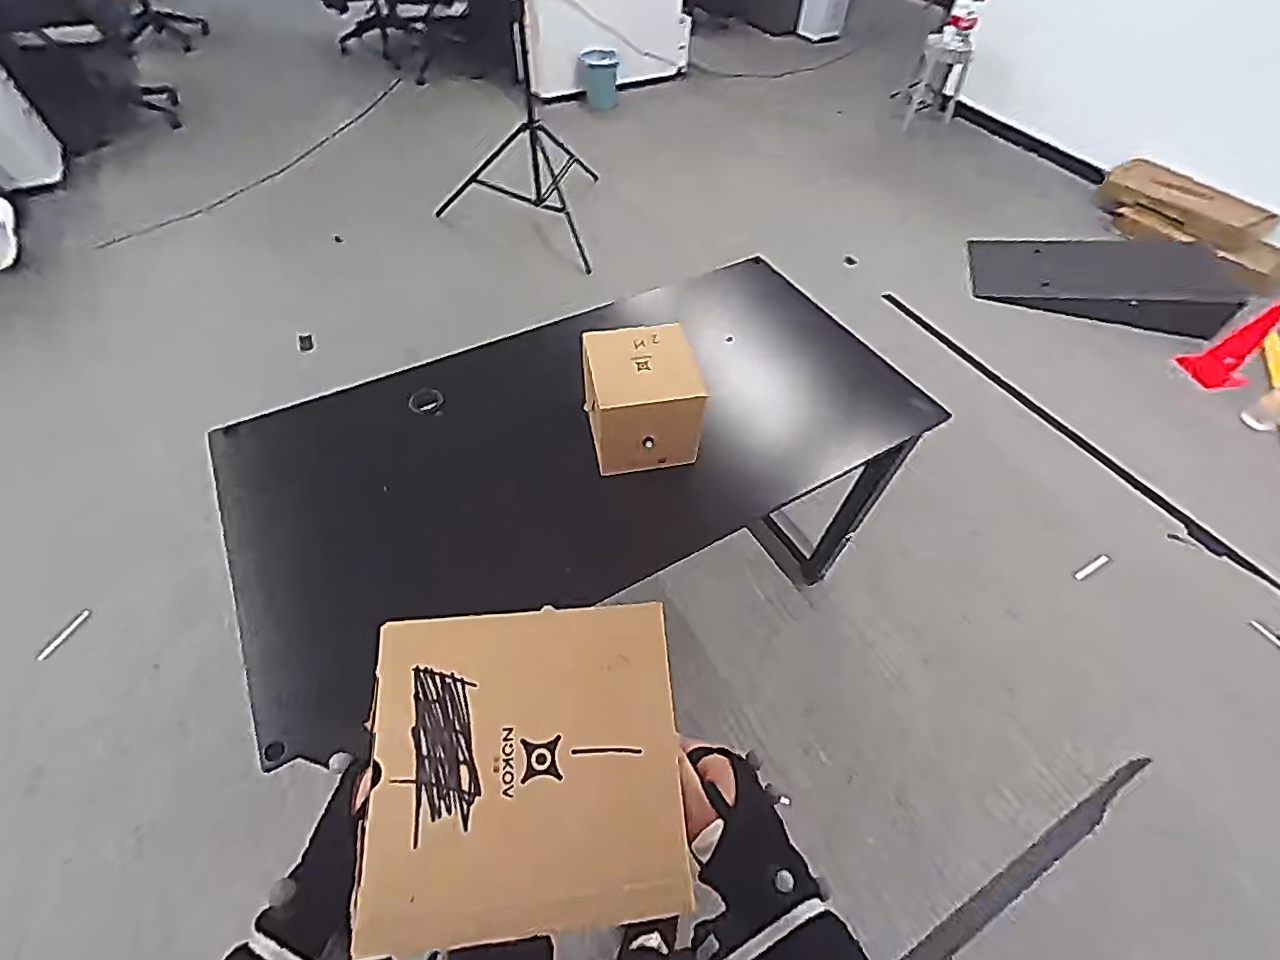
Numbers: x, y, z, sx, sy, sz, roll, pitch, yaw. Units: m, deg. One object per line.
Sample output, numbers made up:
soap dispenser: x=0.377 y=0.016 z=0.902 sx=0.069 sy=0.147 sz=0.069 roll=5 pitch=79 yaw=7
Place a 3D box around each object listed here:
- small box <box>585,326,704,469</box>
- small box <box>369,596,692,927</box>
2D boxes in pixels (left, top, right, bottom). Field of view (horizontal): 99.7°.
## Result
small box: x=0.002 y=-0.132 z=0.919 sx=0.168 sy=0.176 sz=0.179 roll=-8 pitch=55 yaw=-9
small box: x=-0.068 y=0.187 z=0.394 sx=0.179 sy=0.176 sz=0.168 roll=-3 pitch=68 yaw=-6
